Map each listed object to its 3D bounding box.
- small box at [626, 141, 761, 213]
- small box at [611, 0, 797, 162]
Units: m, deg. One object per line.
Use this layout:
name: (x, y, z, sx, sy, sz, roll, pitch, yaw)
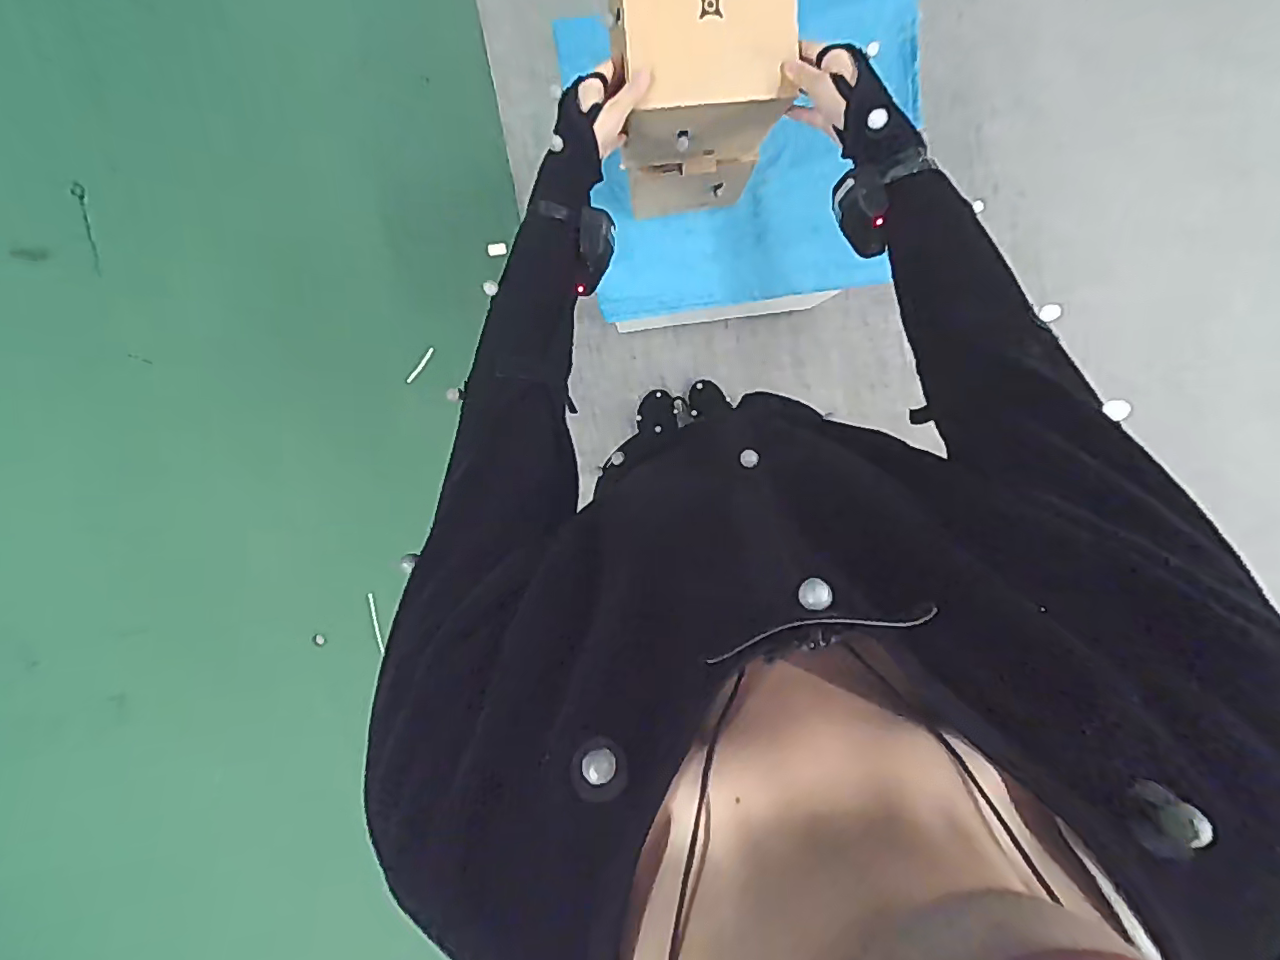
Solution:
small box: (0.063, -0.488, 0.748, 0.168, 0.176, 0.179, -7, 97, 0)
small box: (0.058, -0.458, 0.573, 0.168, 0.176, 0.179, -6, 102, -3)
